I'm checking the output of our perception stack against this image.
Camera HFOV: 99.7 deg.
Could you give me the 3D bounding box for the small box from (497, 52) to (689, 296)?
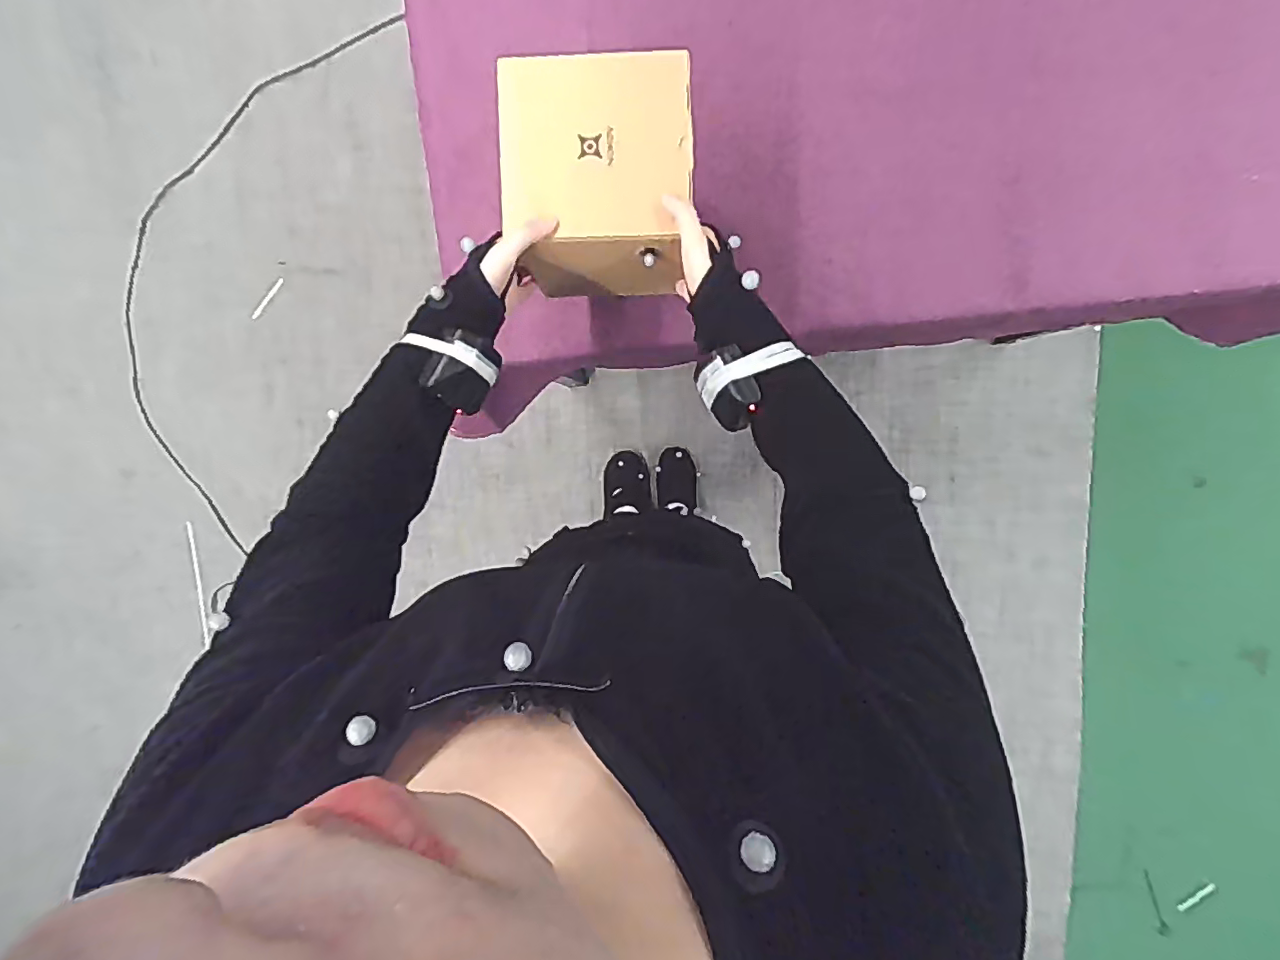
[{"bbox_3d":[-0.039,-0.302,0.569,0.179,0.176,0.168,-1,91,2],"label":"small box"}]
